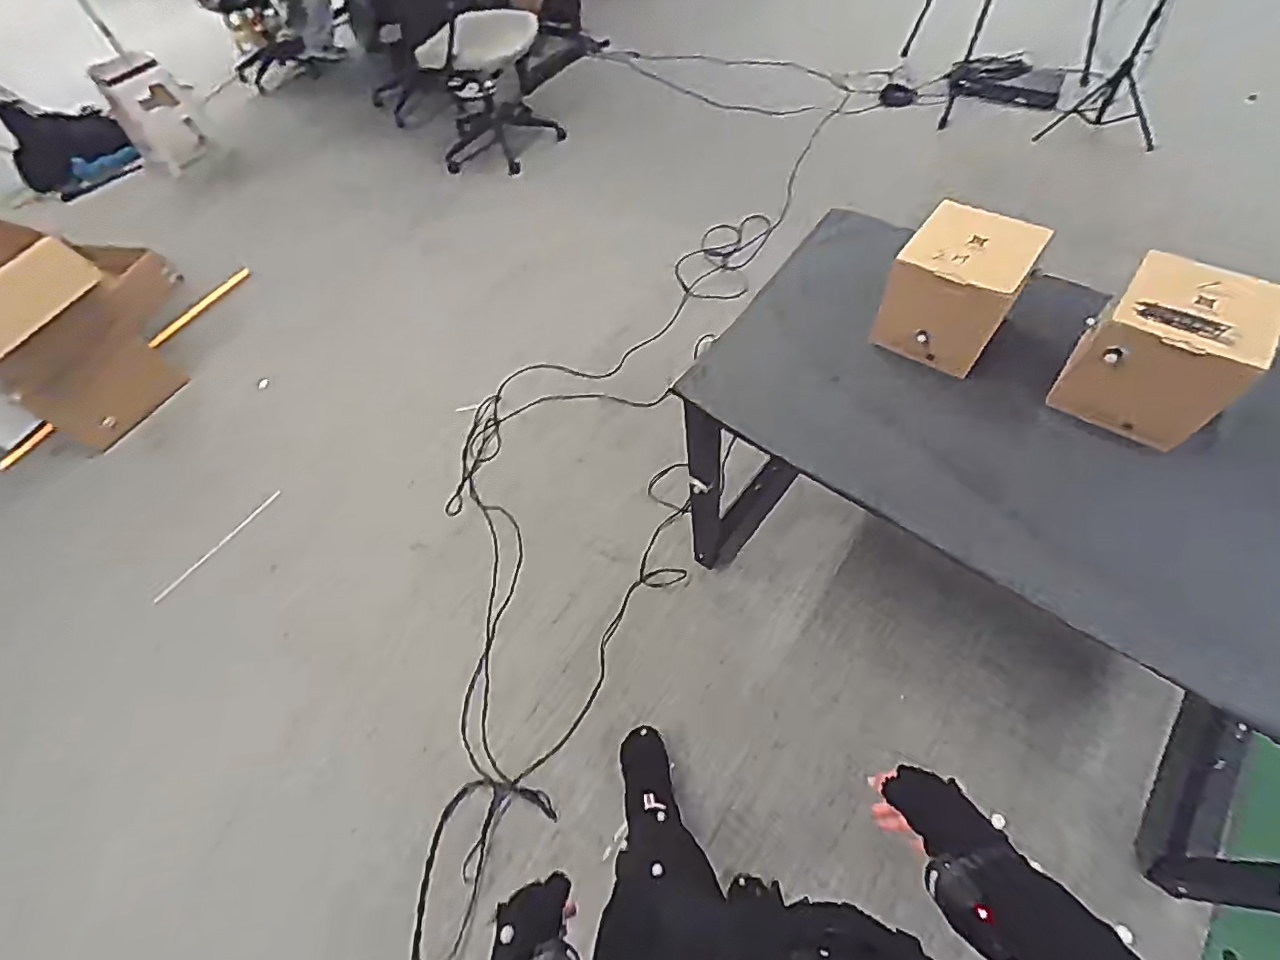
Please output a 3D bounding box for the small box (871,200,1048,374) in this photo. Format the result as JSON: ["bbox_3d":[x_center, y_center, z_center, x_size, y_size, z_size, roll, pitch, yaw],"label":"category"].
[{"bbox_3d":[0.497,-0.306,0.867,0.168,0.176,0.179,32,67,24],"label":"small box"}]
